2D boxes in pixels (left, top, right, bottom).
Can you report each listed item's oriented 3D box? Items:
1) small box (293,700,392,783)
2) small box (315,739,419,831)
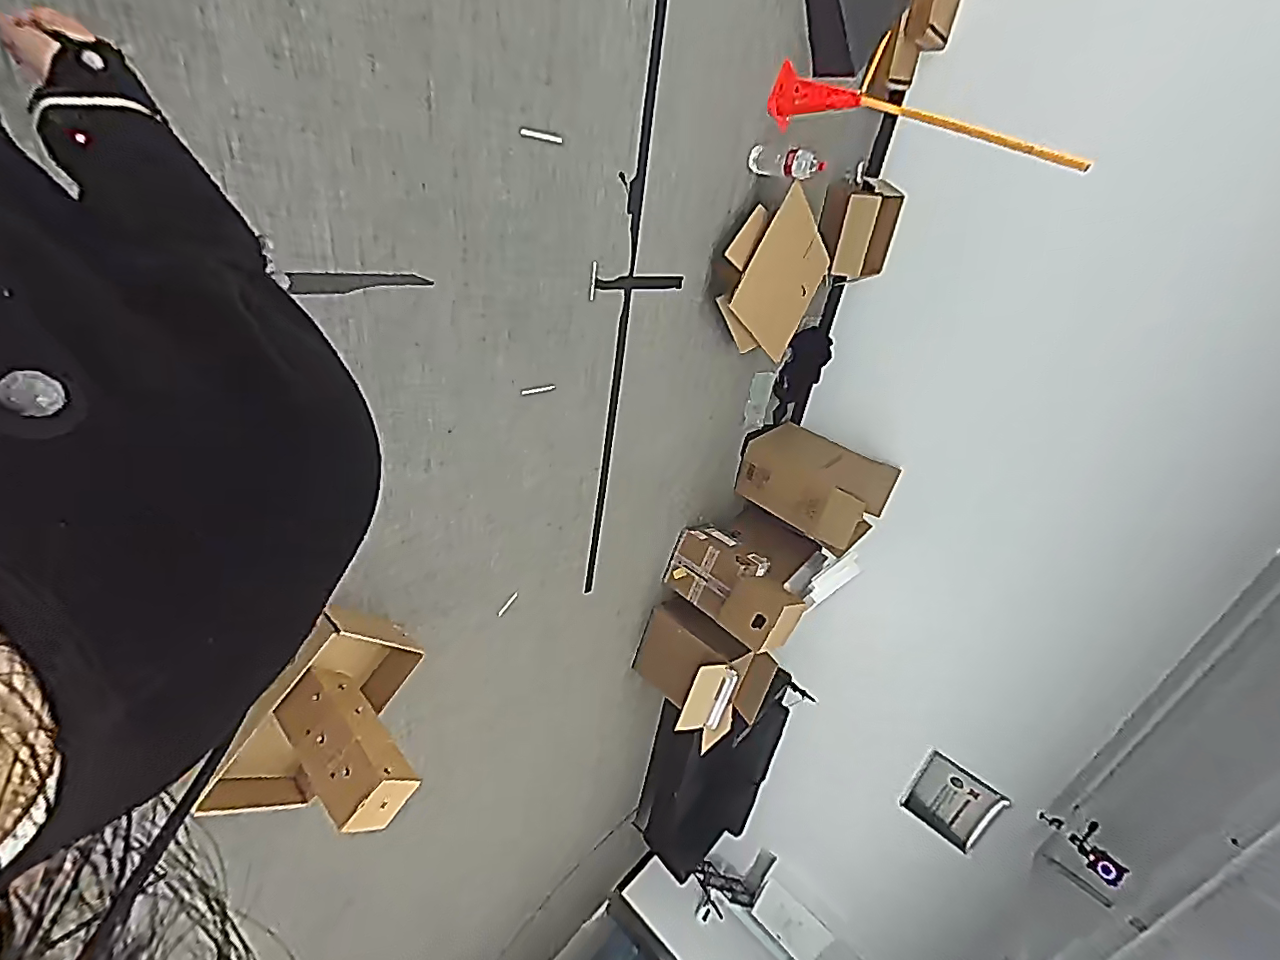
[{"bbox_3d":[-0.912,0.803,1.656,0.168,0.176,0.179,-51,147,-13],"label":"small box"},{"bbox_3d":[-0.794,0.883,1.576,0.168,0.176,0.179,-51,148,-12],"label":"small box"}]
